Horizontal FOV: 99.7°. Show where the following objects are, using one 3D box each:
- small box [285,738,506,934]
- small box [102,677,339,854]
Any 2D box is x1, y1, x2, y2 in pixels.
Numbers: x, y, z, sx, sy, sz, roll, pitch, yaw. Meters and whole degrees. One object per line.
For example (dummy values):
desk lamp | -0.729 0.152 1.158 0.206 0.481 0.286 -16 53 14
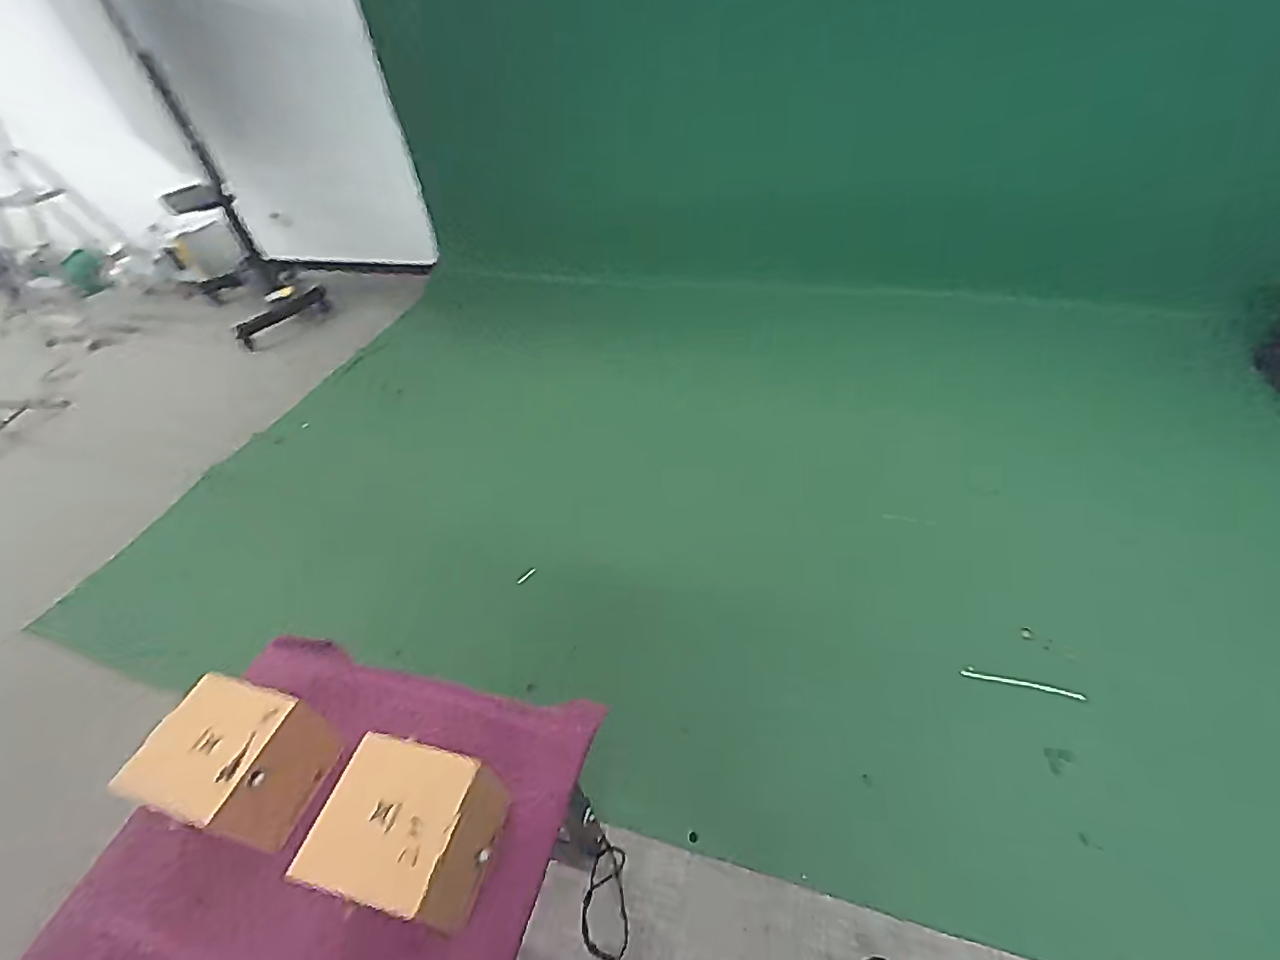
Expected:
small box | -0.304 0.470 0.713 0.179 0.176 0.168 8 48 13
small box | -0.595 0.419 0.793 0.179 0.176 0.168 9 48 14
